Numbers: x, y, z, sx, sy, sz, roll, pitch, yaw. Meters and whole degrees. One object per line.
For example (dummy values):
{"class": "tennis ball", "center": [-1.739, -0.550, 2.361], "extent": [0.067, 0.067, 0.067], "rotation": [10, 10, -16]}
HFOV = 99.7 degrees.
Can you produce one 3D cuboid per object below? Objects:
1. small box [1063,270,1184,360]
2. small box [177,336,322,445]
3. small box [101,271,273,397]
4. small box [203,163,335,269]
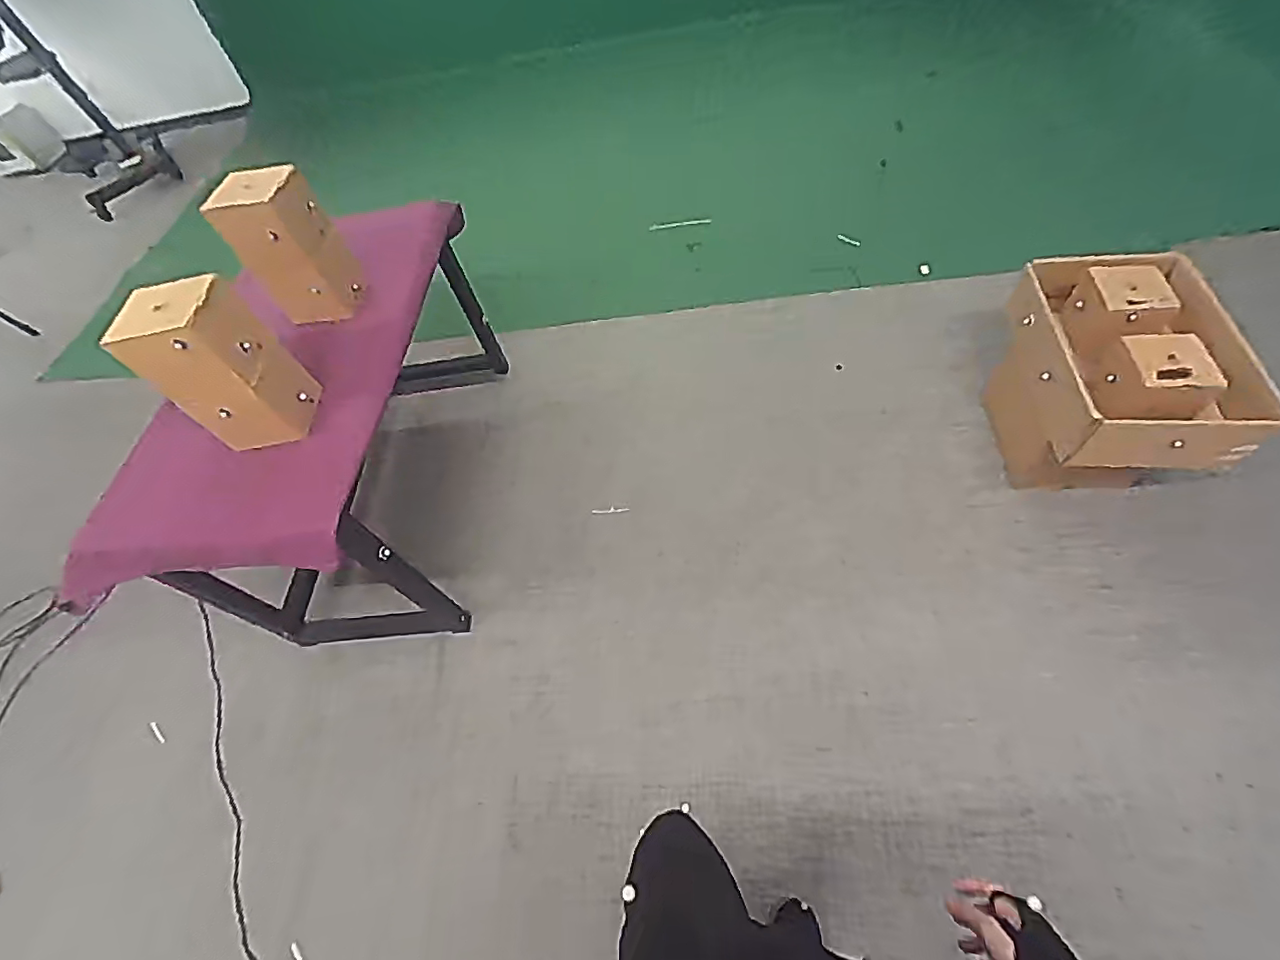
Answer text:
{"class": "small box", "center": [1.315, -0.452, 1.489], "extent": [0.168, 0.176, 0.179], "rotation": [2, 56, 10]}
{"class": "small box", "center": [-0.866, -0.196, 1.220], "extent": [0.179, 0.176, 0.168], "rotation": [-8, 56, 4]}
{"class": "small box", "center": [-0.894, -0.287, 1.088], "extent": [0.179, 0.176, 0.168], "rotation": [-10, 55, 3]}
{"class": "small box", "center": [-0.893, -0.642, 1.324], "extent": [0.179, 0.176, 0.168], "rotation": [-3, 56, 8]}
